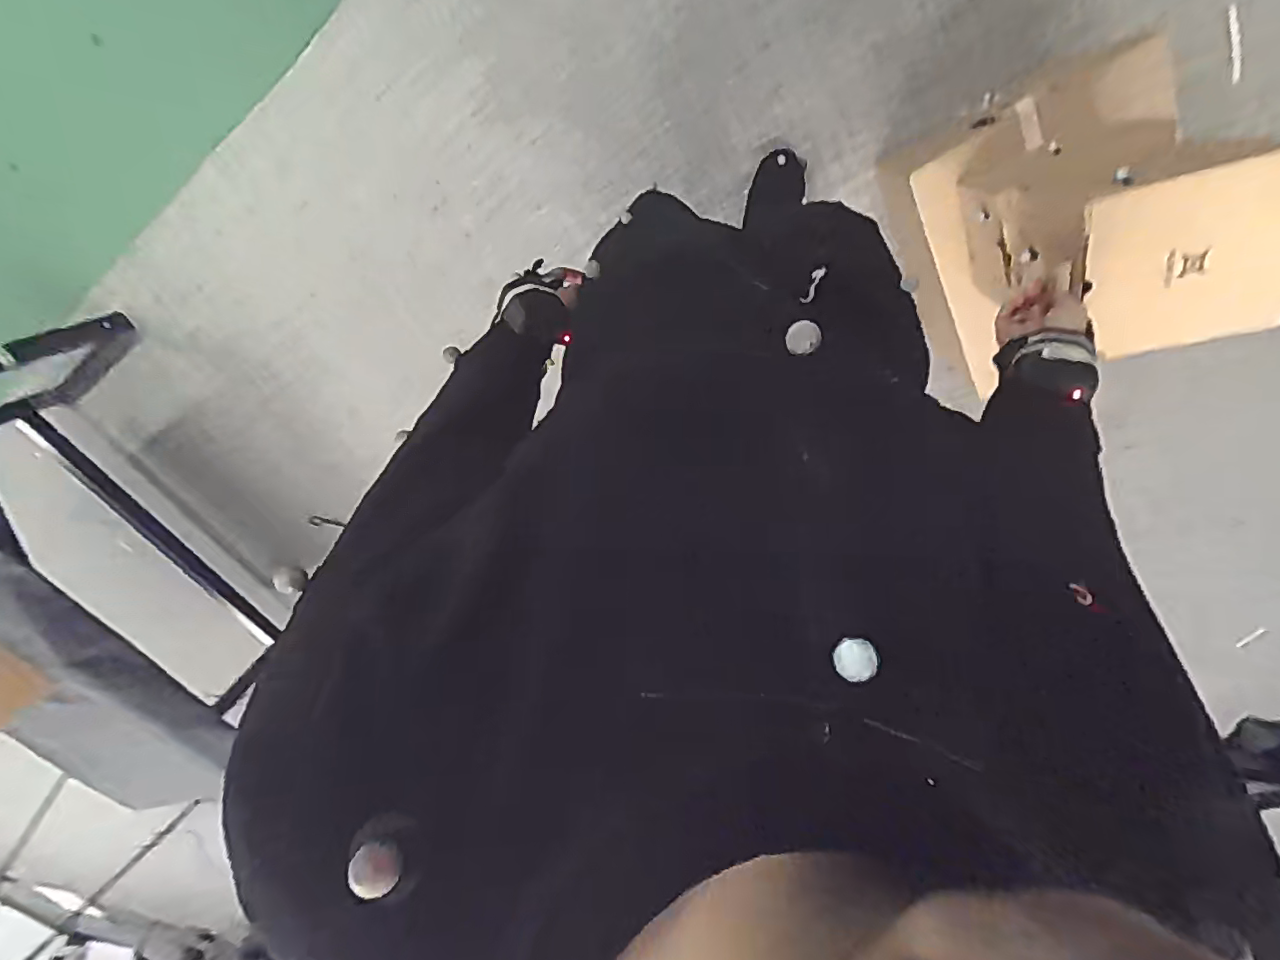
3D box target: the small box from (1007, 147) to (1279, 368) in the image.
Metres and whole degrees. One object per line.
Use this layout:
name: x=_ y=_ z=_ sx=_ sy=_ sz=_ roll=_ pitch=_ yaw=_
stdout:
small box: x=0.532 y=-0.243 z=0.583 sx=0.179 sy=0.176 sz=0.168 roll=-10 pitch=119 yaw=17

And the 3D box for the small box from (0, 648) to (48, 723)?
small box: x=-1.516 y=0.475 z=1.204 sx=0.168 sy=0.176 sz=0.179 roll=-14 pitch=118 yaw=23

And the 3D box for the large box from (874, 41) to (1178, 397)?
large box: x=0.650 y=-0.427 z=0.932 sx=0.320 sy=0.320 sz=0.408 roll=-22 pitch=116 yaw=25
